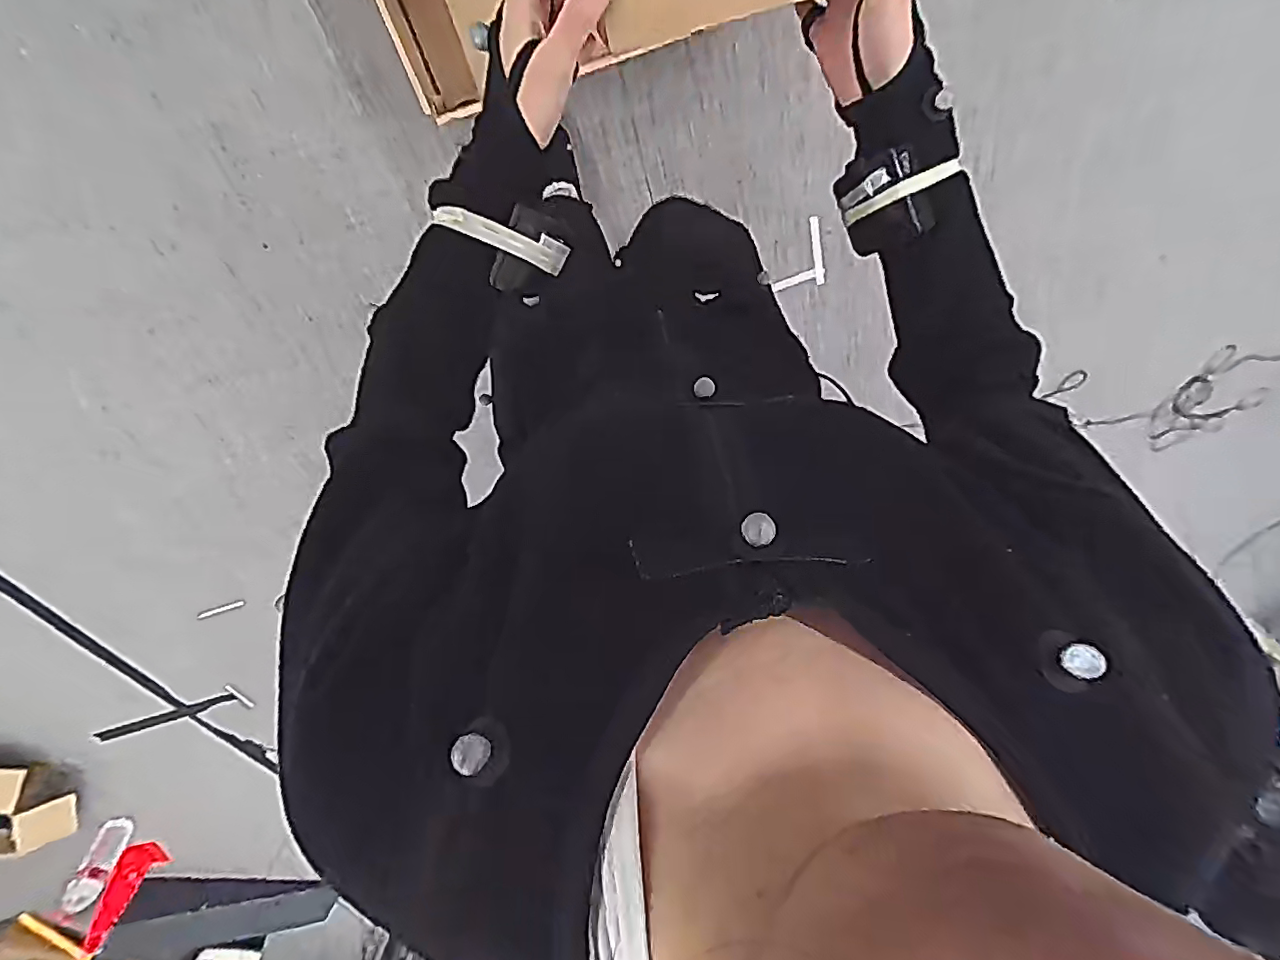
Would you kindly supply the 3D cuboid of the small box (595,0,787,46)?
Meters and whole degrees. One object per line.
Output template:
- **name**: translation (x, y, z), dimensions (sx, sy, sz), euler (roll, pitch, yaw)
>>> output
- **small box**: translation (0.035, -0.396, 0.320), dimensions (0.168, 0.176, 0.179), euler (-13, 136, 4)
